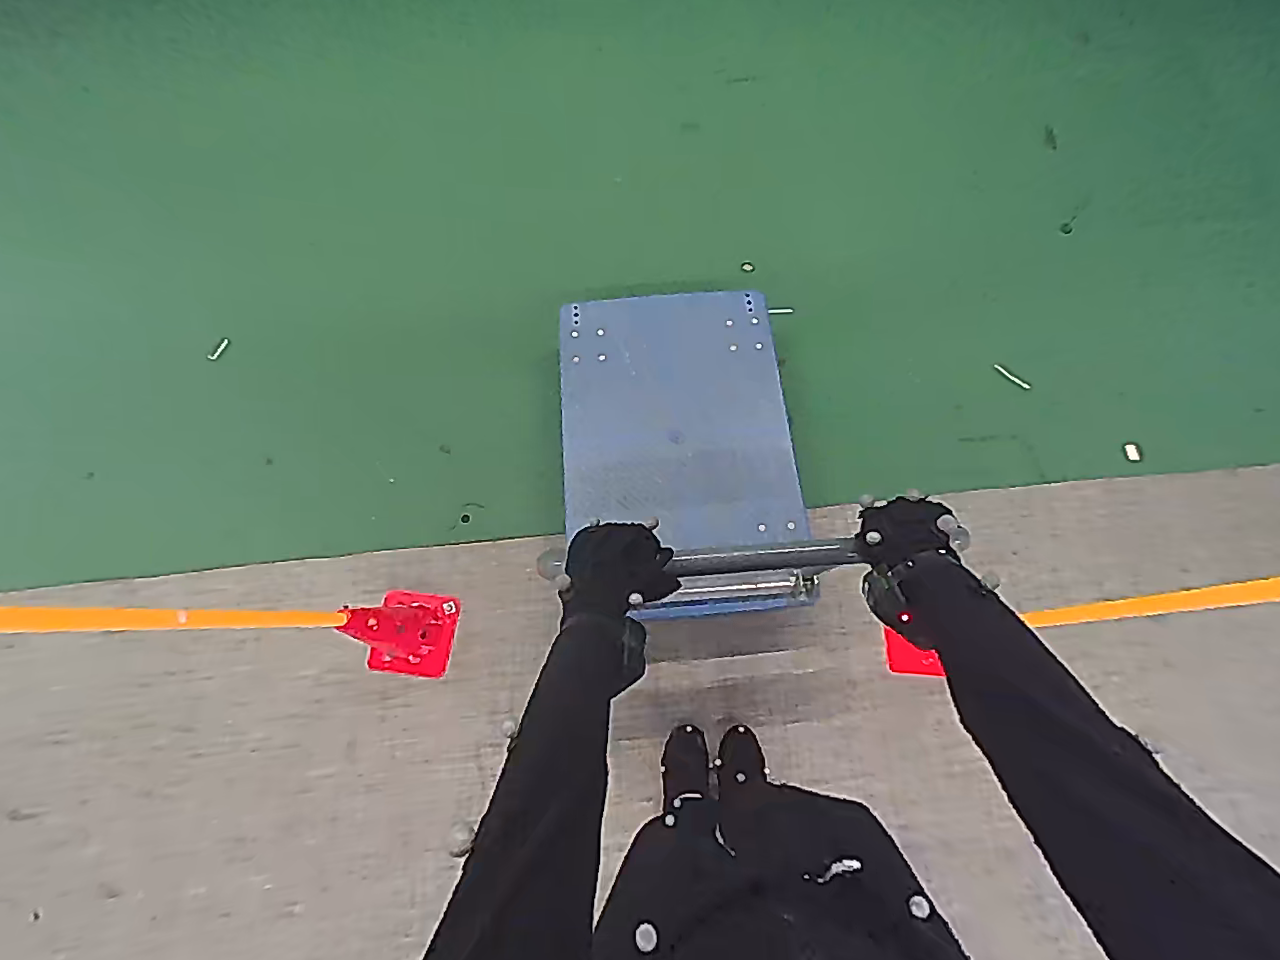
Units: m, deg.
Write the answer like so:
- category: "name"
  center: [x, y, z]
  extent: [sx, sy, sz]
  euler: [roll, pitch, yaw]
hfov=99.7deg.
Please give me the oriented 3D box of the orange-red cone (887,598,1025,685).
- category: "orange-red cone"
  center: [0.721, 0.344, 1.195]
  extent: [0.198, 0.360, 0.199]
  euler: [5, 70, 3]
